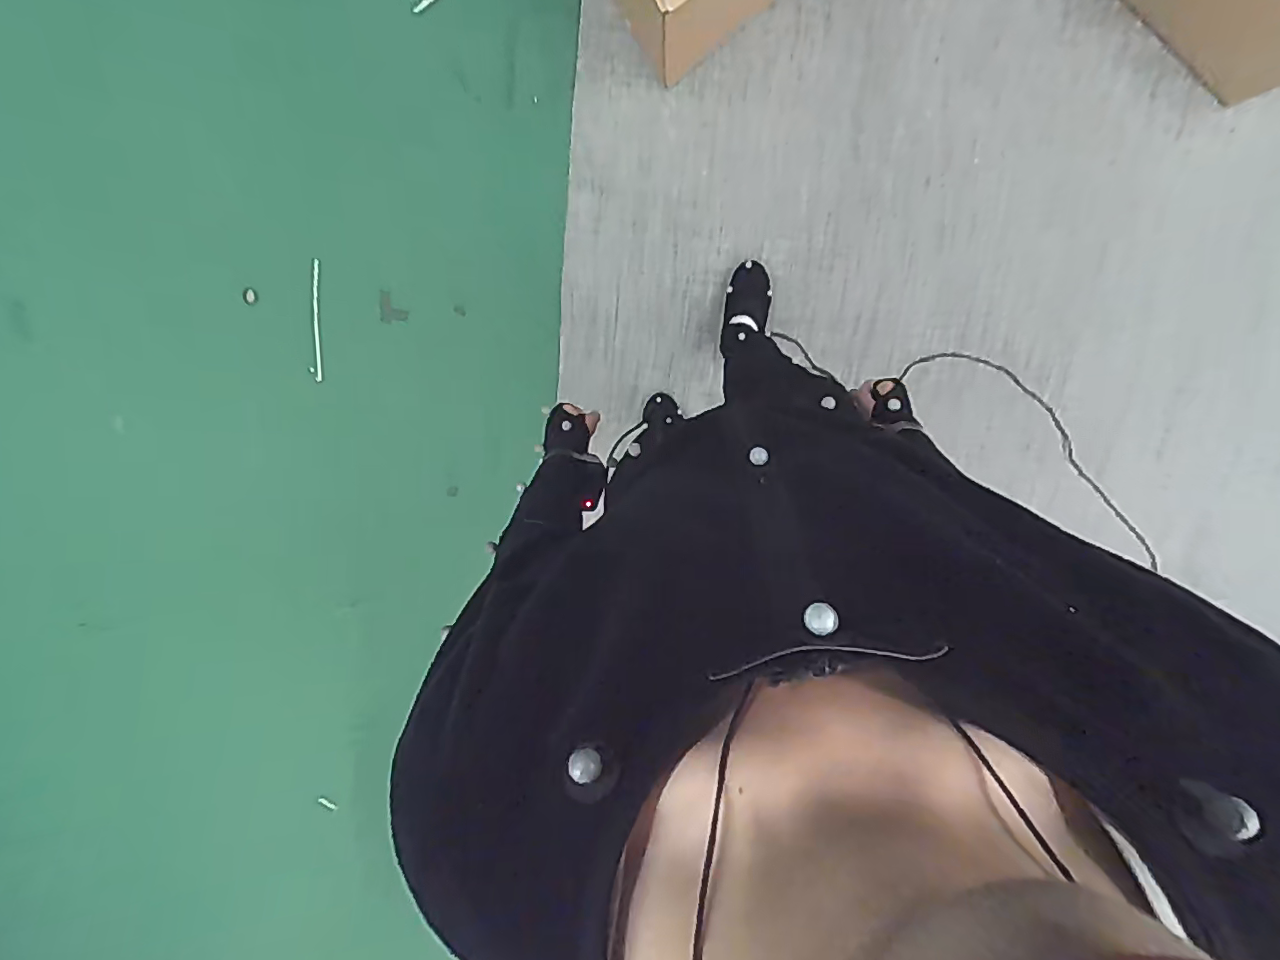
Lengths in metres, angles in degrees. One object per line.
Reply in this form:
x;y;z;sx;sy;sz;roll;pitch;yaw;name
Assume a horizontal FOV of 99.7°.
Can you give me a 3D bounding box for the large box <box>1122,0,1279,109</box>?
1.285;-1.036;1.036;0.408;0.320;0.320;36;103;-8;large box
